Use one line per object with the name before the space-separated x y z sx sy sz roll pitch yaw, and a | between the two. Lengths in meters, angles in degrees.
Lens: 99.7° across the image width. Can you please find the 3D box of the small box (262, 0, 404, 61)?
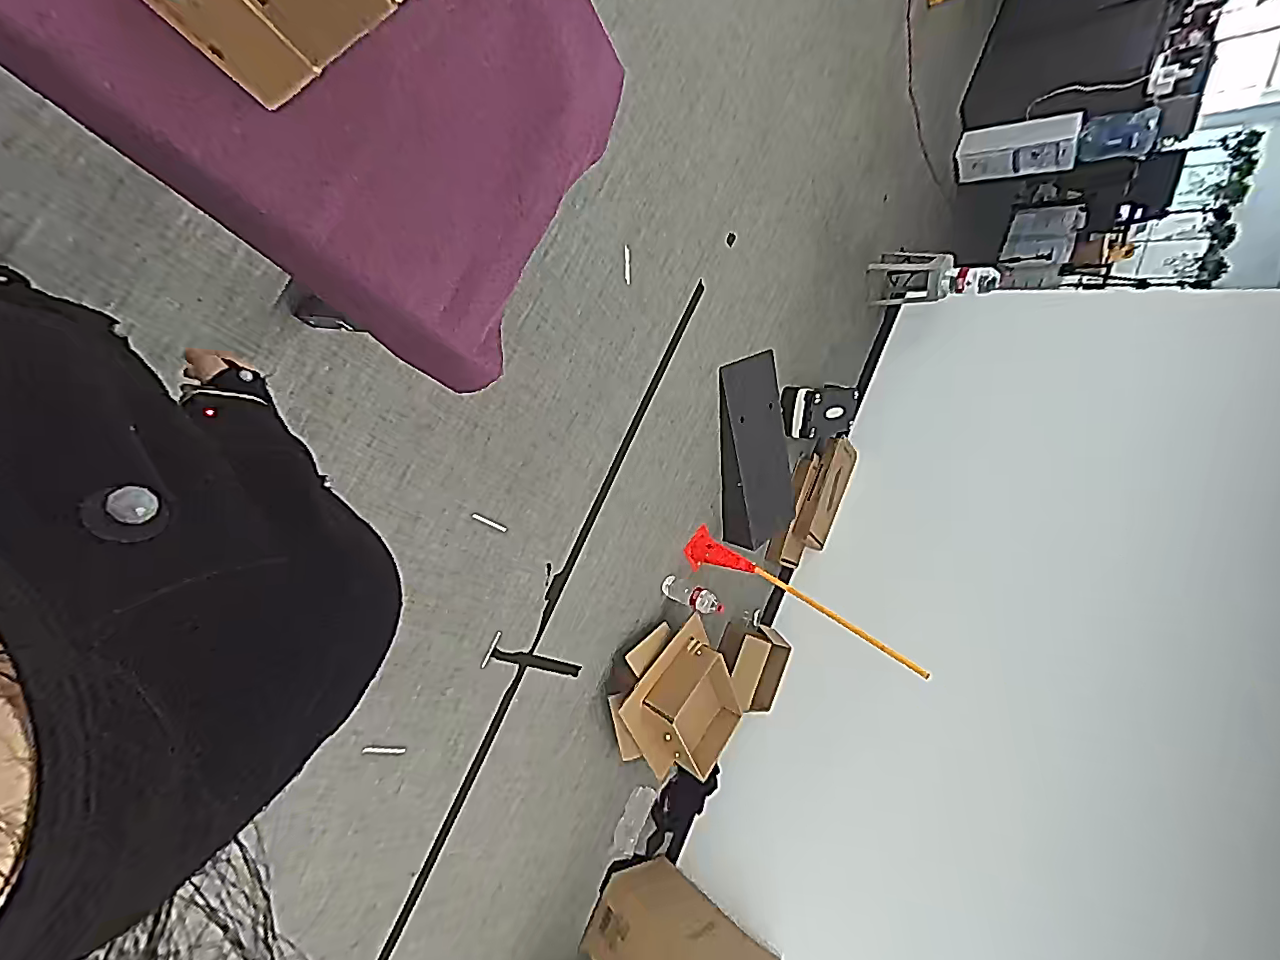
small box | -0.250 -0.481 0.421 0.168 0.176 0.179 38 73 -48

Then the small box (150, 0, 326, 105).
small box | -0.373 -0.513 0.525 0.168 0.176 0.179 37 74 -48
